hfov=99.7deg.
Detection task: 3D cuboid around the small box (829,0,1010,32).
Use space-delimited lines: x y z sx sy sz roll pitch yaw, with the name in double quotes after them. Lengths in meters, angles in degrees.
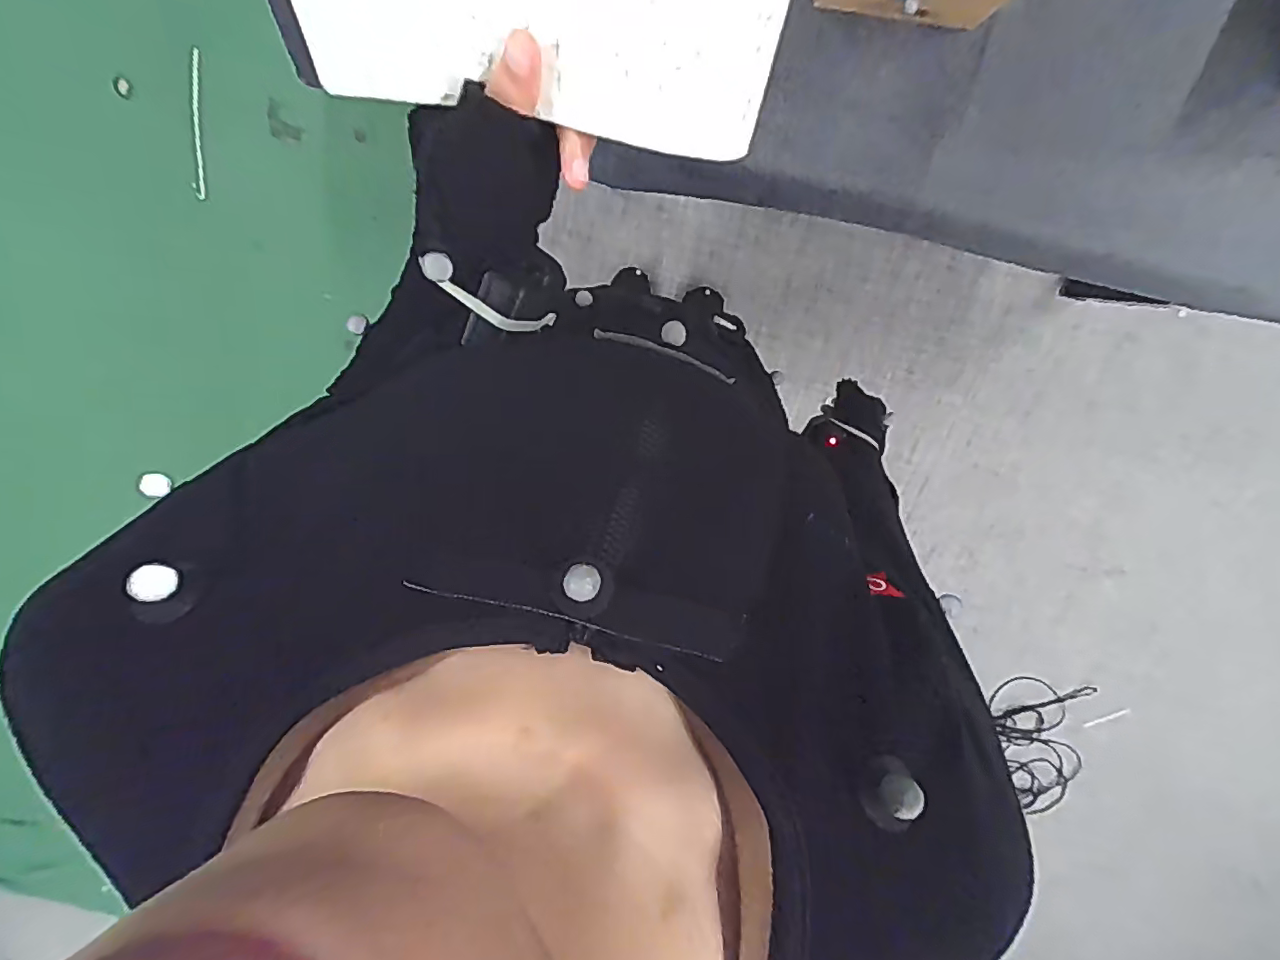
0.267 -0.517 0.443 0.168 0.176 0.179 9 111 1 "small box"
